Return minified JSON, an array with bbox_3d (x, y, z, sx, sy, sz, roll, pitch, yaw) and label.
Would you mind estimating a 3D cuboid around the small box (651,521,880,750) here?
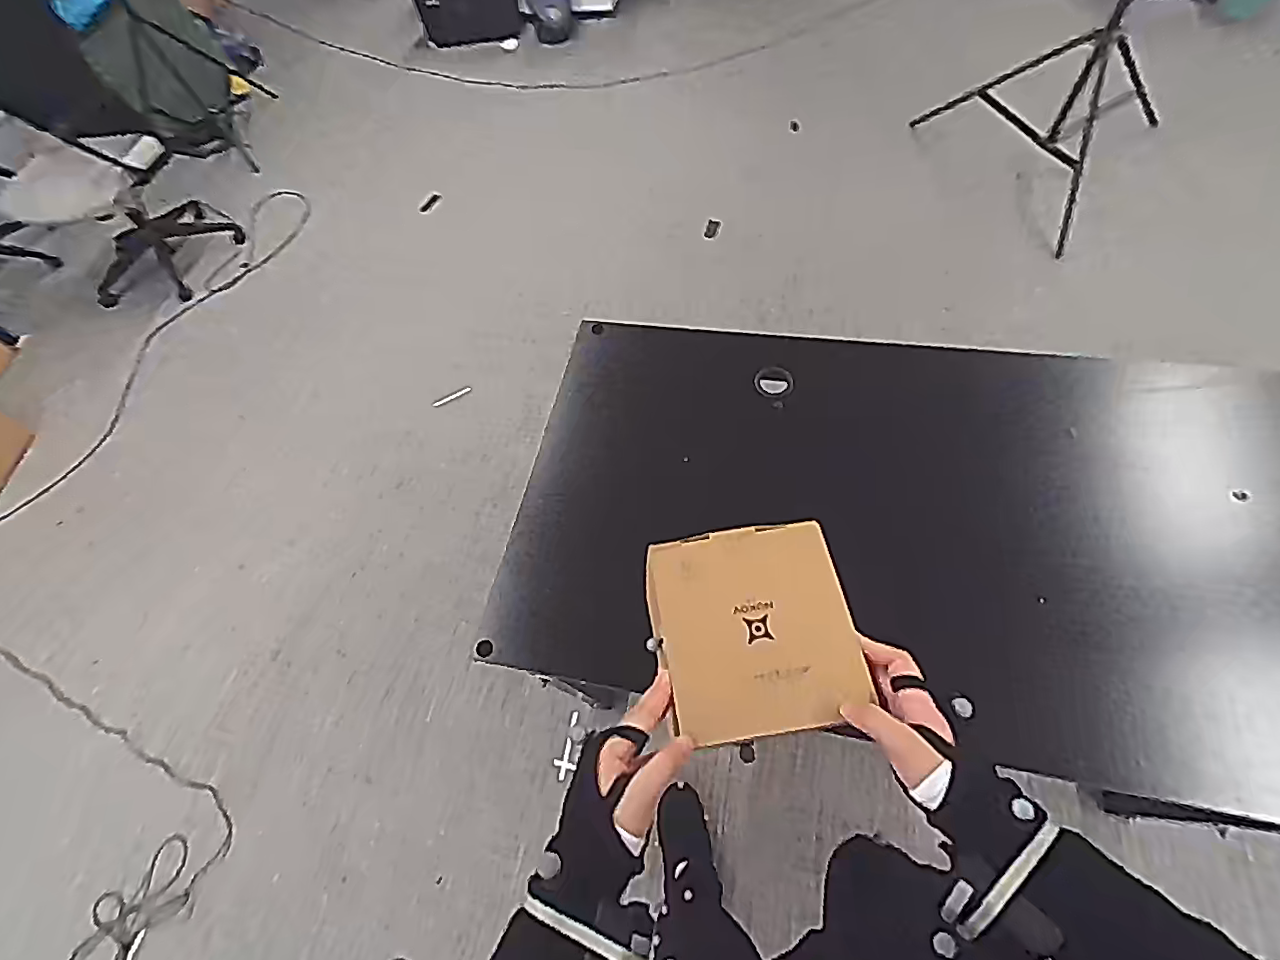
[{"bbox_3d":[0.103,0.161,0.540,0.168,0.176,0.179,-9,63,-3],"label":"small box"}]
